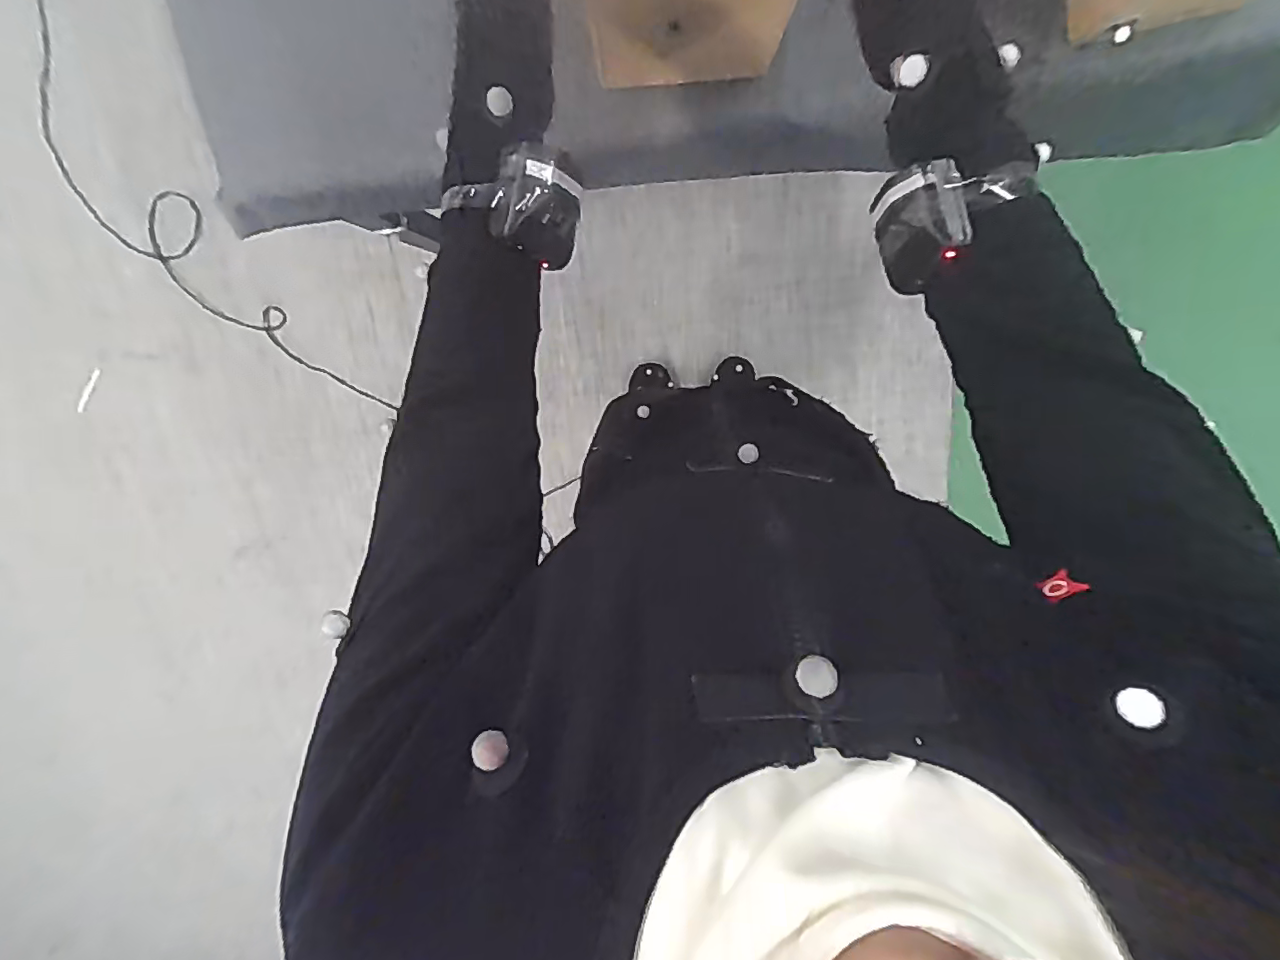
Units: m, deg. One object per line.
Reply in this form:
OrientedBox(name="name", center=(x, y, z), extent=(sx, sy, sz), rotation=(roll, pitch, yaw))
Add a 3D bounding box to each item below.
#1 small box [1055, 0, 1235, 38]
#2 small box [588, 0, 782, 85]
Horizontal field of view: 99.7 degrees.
OrientedBox(name="small box", center=(0.494, -0.524, 0.463), extent=(0.168, 0.176, 0.179), rotation=(-10, 103, 4))
OrientedBox(name="small box", center=(0.038, -0.487, 0.485), extent=(0.179, 0.176, 0.168), rotation=(-3, 104, 2))
